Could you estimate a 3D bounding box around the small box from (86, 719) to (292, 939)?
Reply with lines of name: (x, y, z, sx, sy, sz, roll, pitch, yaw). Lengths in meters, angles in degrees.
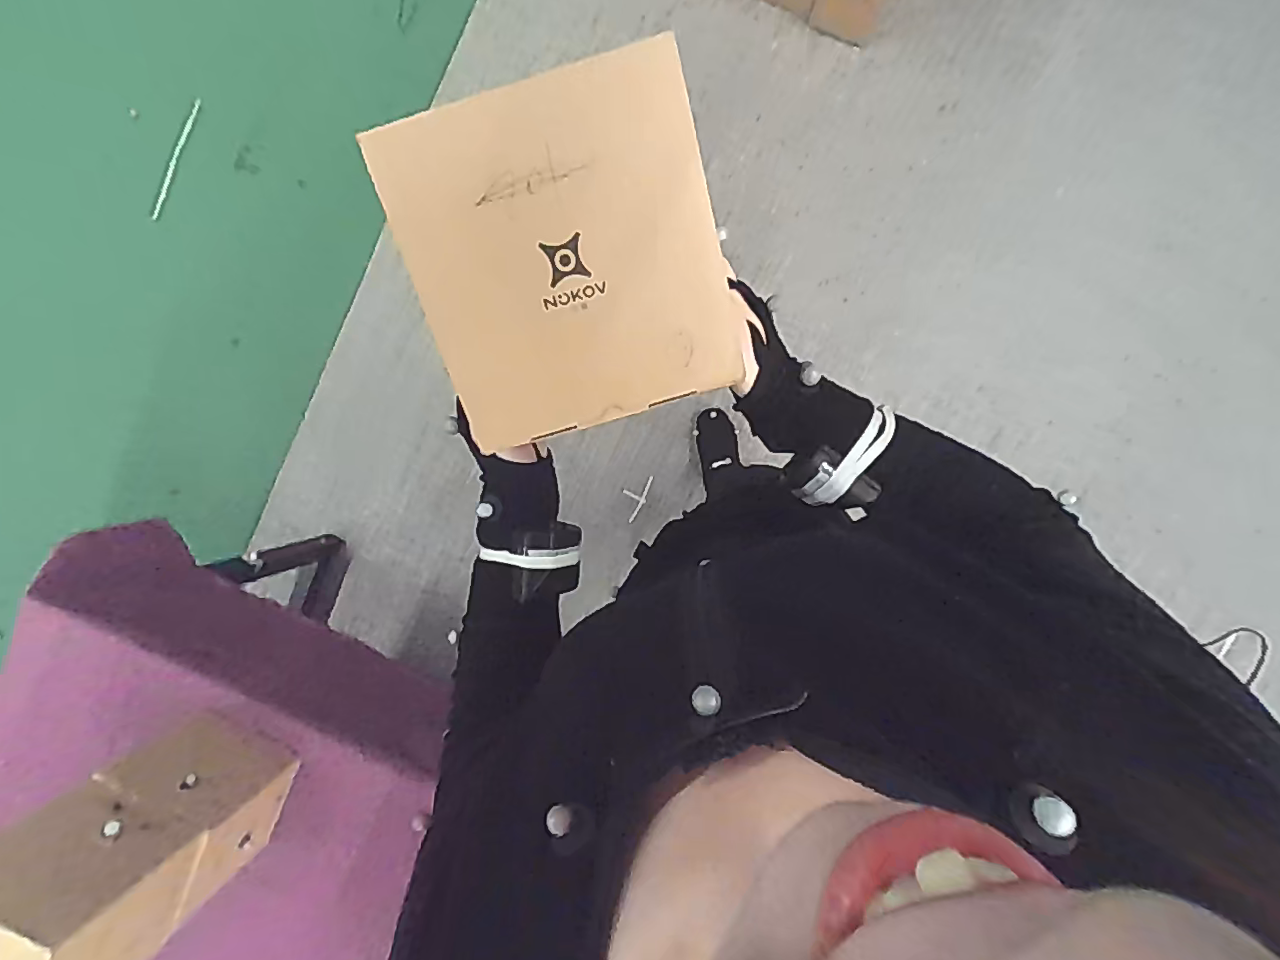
small box: (-0.647, 0.477, 0.770, 0.179, 0.176, 0.168, 25, 95, 3)

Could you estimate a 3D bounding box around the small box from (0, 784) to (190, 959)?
small box: (-0.665, 0.494, 0.607, 0.168, 0.176, 0.179, 23, 95, 3)

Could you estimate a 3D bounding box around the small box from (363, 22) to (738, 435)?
small box: (-0.042, -0.150, 0.367, 0.168, 0.176, 0.179, -15, 108, 3)
